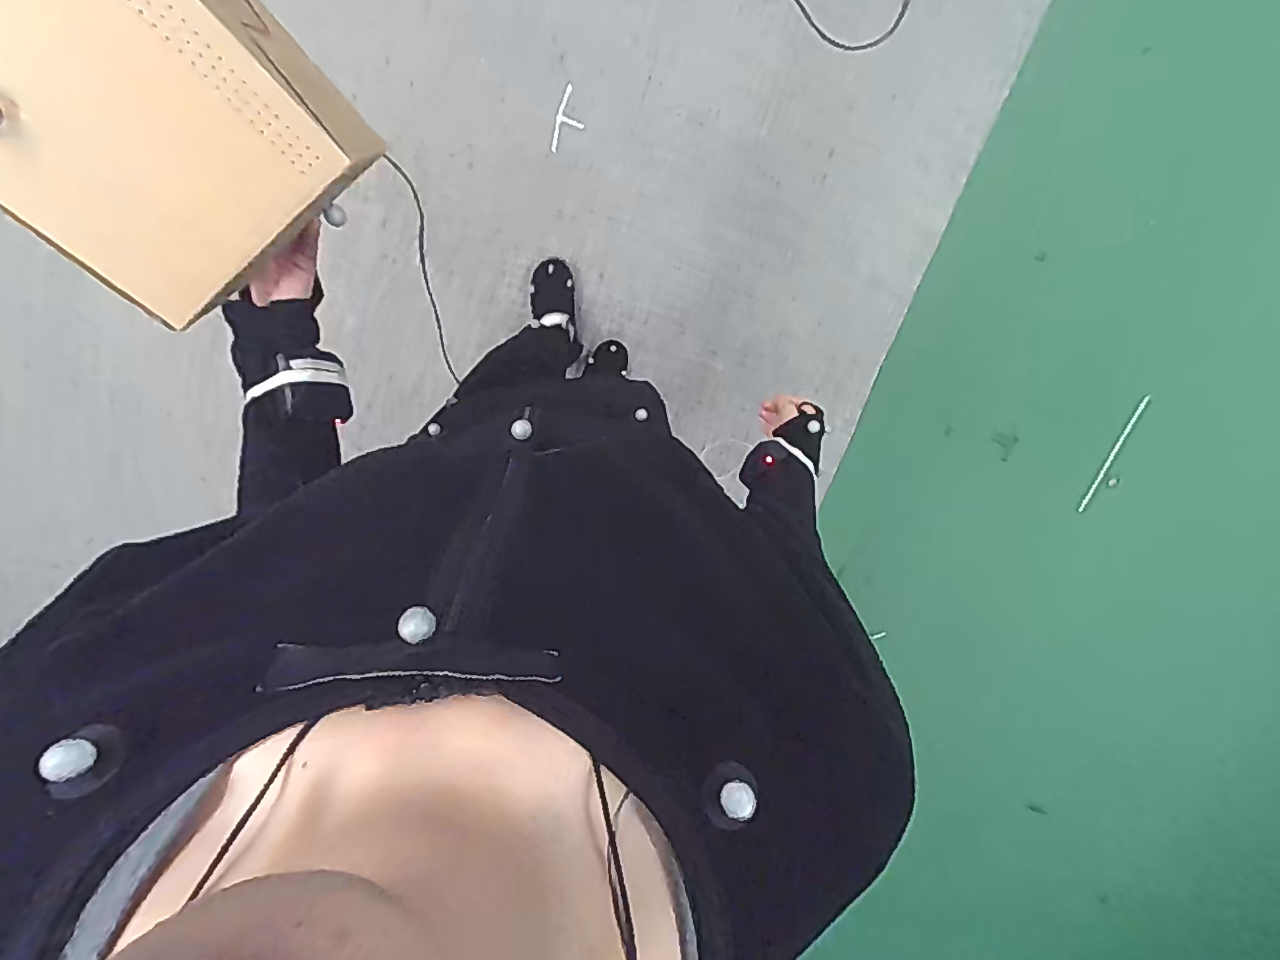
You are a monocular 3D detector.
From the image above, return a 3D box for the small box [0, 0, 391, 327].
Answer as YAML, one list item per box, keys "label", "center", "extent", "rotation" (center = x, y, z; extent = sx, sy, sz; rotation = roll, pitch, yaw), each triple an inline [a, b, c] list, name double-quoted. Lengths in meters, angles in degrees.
- label: "small box"
  center: [-0.303, -0.244, 0.361]
  extent: [0.176, 0.168, 0.179]
  rotation: [-36, 126, 11]

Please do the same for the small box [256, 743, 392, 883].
- label: "small box"
  center: [-0.651, 0.689, 1.135]
  extent: [0.179, 0.176, 0.168]
  rotation: [22, 102, -9]
